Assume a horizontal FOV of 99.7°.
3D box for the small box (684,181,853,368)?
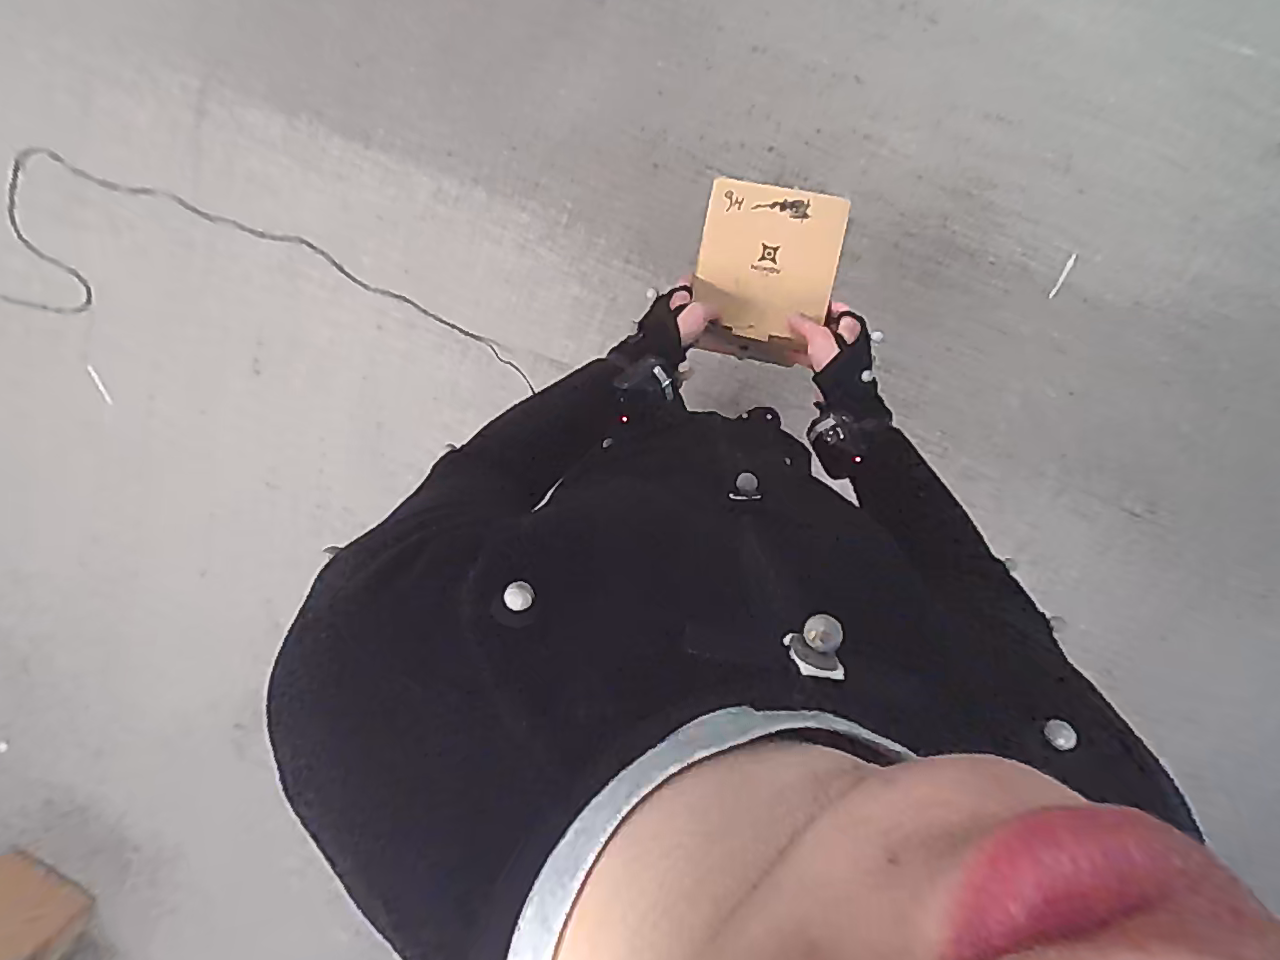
[{"bbox_3d":[0.158,-0.254,0.711,0.168,0.176,0.179,12,94,5],"label":"small box"}]
